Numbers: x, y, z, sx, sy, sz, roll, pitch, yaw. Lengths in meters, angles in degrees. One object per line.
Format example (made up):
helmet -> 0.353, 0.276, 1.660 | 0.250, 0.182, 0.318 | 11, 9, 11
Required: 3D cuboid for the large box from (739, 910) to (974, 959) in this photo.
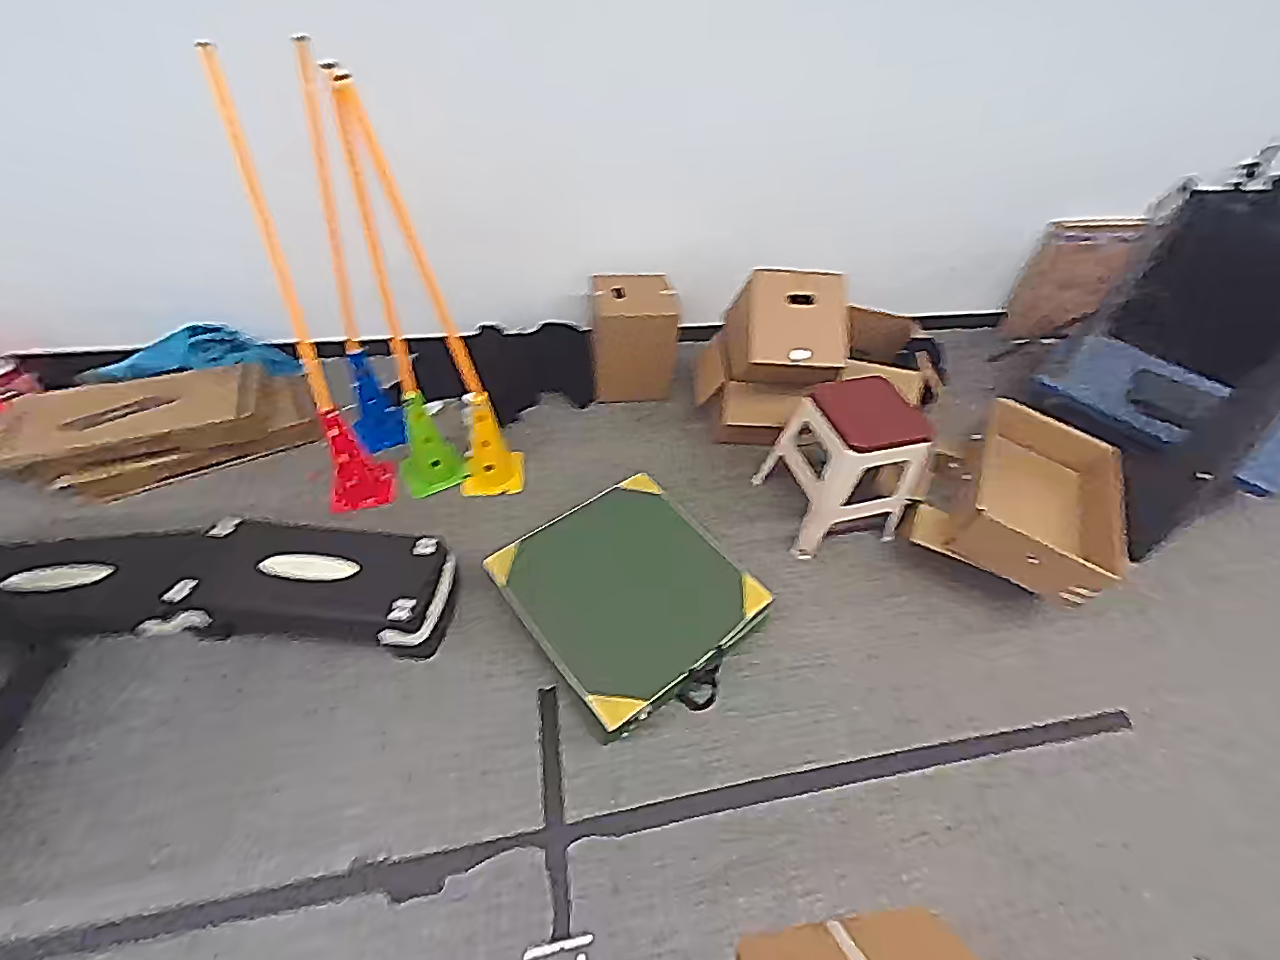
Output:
large box -> 0.335, 0.809, 0.623 | 0.320, 0.408, 0.320 | -6, 82, -7
